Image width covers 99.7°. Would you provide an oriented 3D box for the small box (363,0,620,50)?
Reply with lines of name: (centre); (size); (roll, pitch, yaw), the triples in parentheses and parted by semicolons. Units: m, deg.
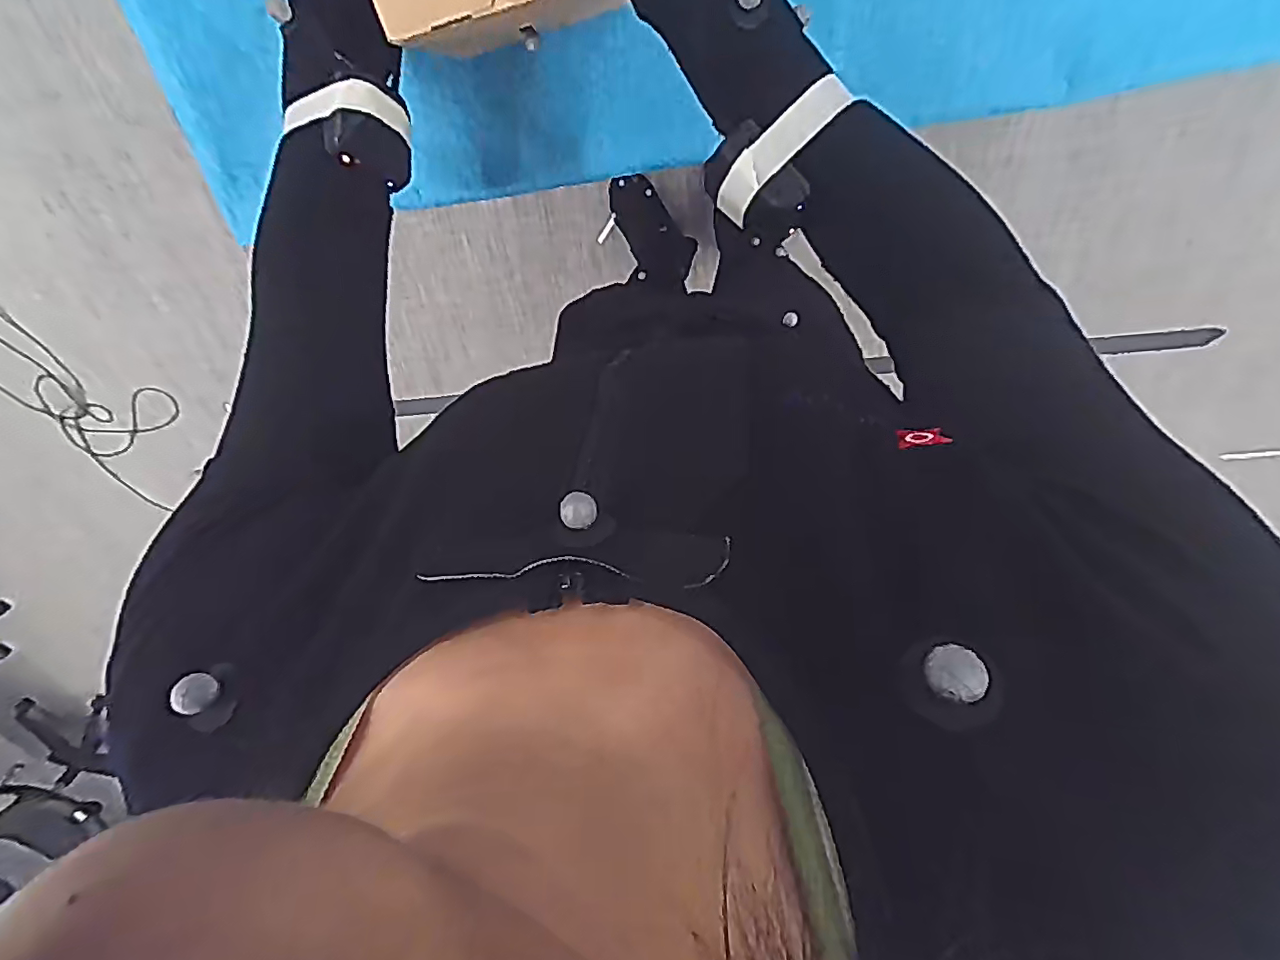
small box: (-0.111, -0.423, 0.374); (0.168, 0.176, 0.179); (-7, 127, 7)
